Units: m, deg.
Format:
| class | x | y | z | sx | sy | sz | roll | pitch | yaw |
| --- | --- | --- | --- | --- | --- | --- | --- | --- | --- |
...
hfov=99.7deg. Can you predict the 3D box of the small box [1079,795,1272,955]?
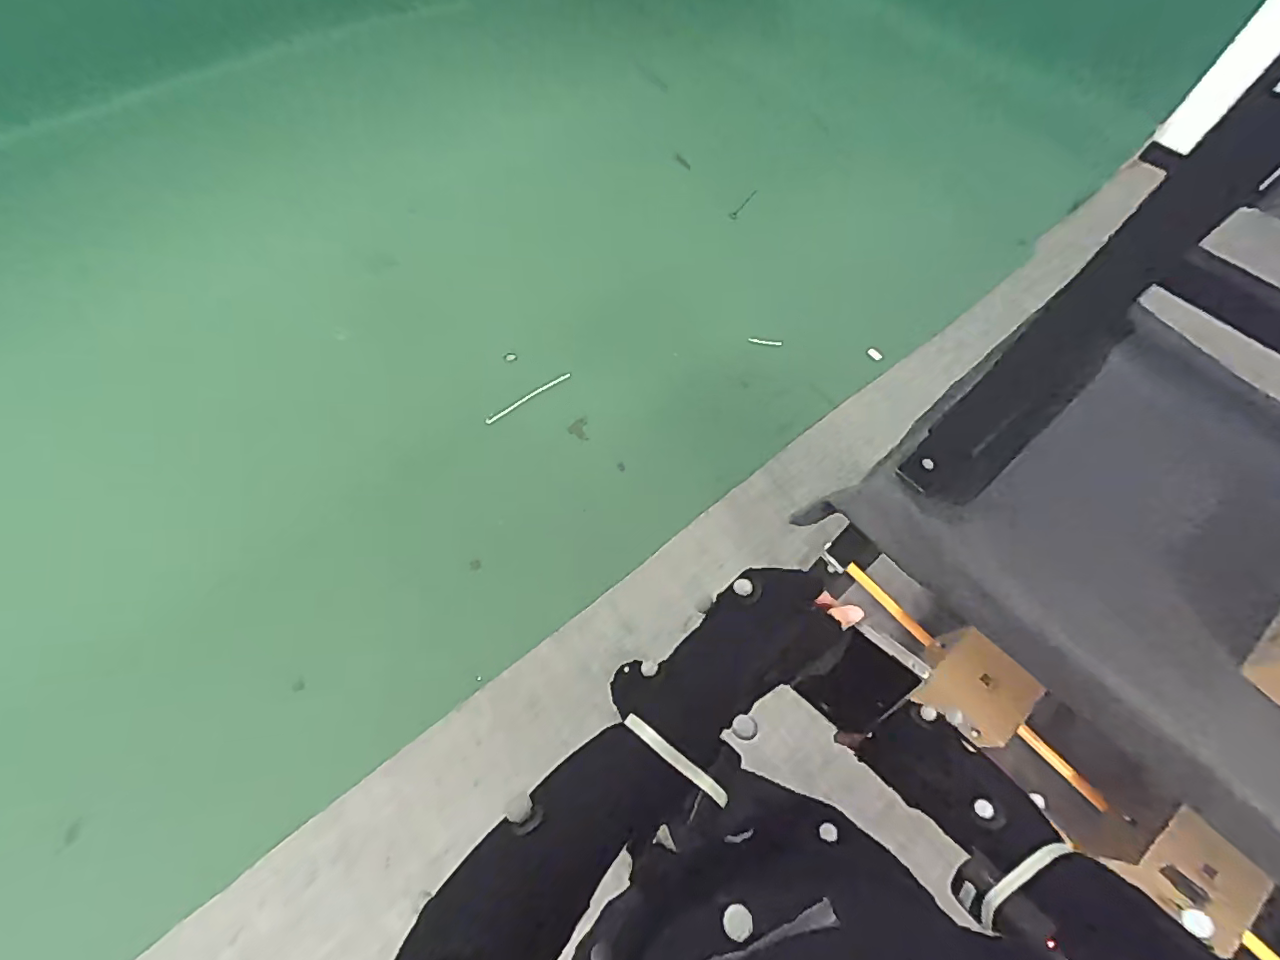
| class | x | y | z | sx | sy | sz | roll | pitch | yaw |
| --- | --- | --- | --- | --- | --- | --- | --- | --- | --- |
| small box | 0.990 | 0.728 | 1.021 | 0.179 | 0.176 | 0.168 | -33 | 68 | -17 |
